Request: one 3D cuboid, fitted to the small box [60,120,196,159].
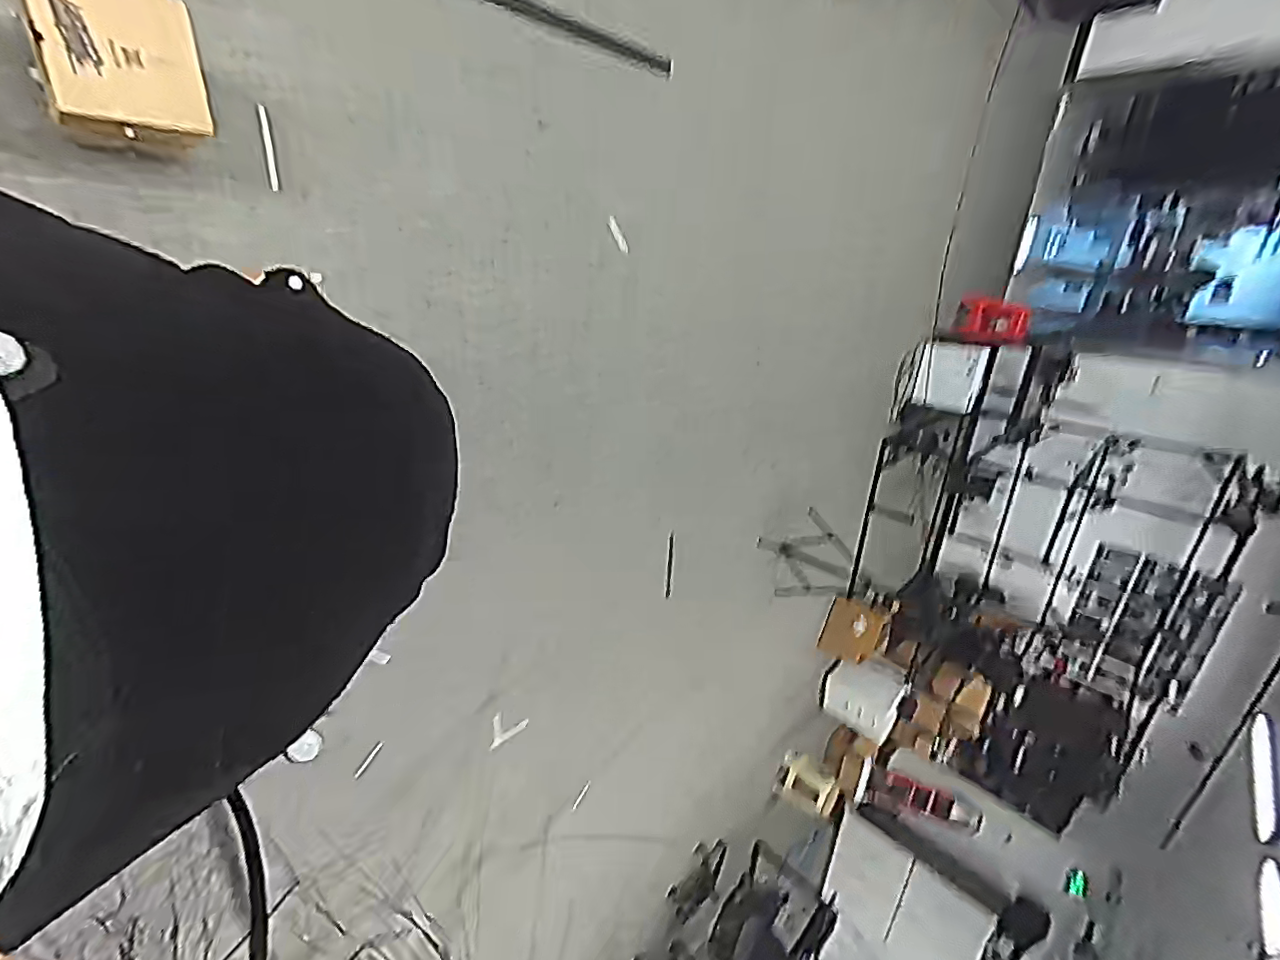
[{"bbox_3d":[-0.892,-0.666,0.926,0.168,0.176,0.179,-16,120,-43],"label":"small box"}]

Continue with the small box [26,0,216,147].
[{"bbox_3d":[-0.779,-0.616,0.816,0.179,0.176,0.168,-18,120,-42],"label":"small box"}]
